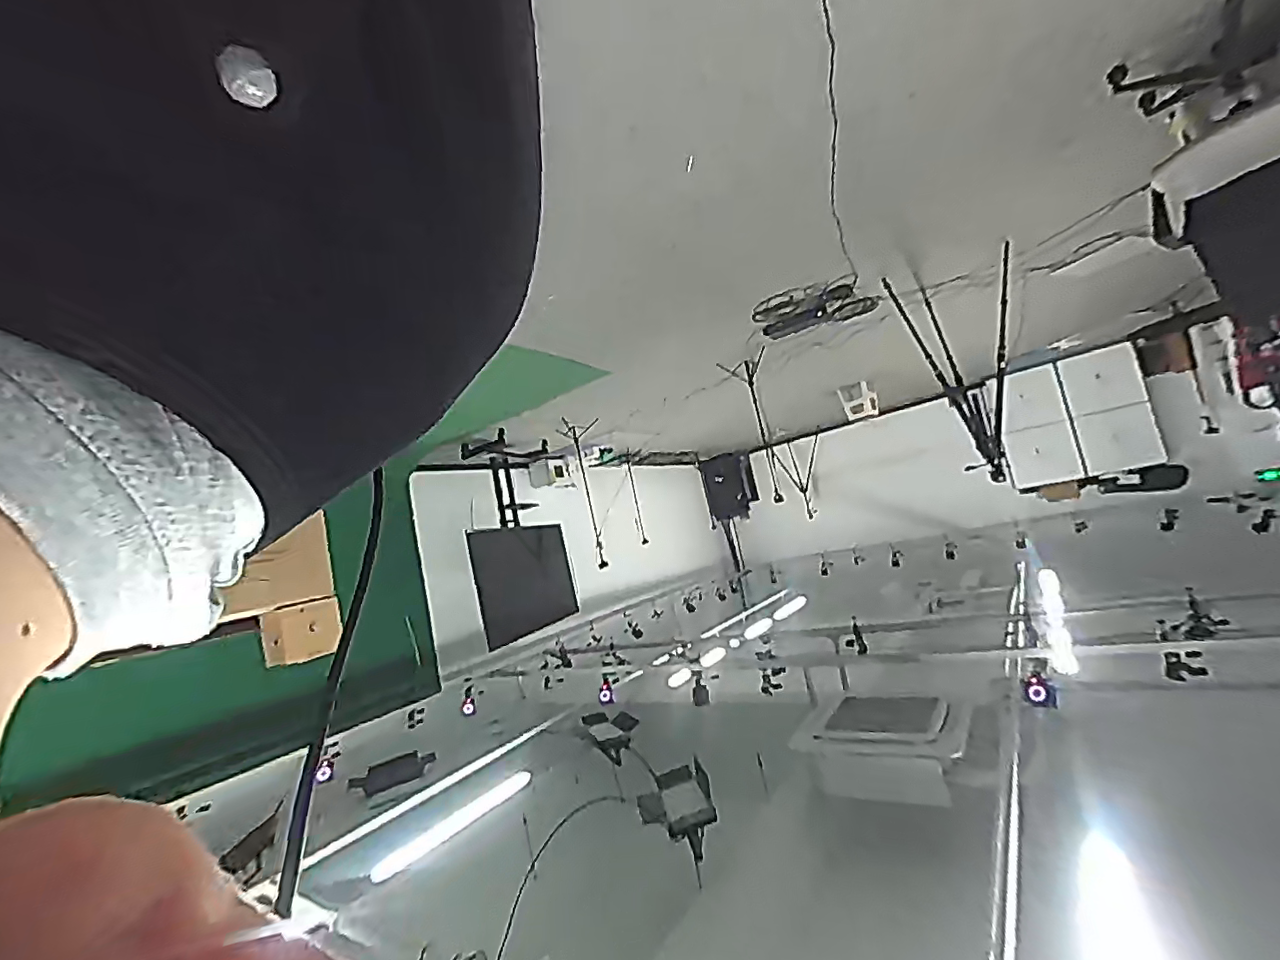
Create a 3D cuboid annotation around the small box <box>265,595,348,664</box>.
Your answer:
[{"bbox_3d":[-1.046,0.462,1.690,0.179,0.176,0.168,-17,173,38],"label":"small box"}]
